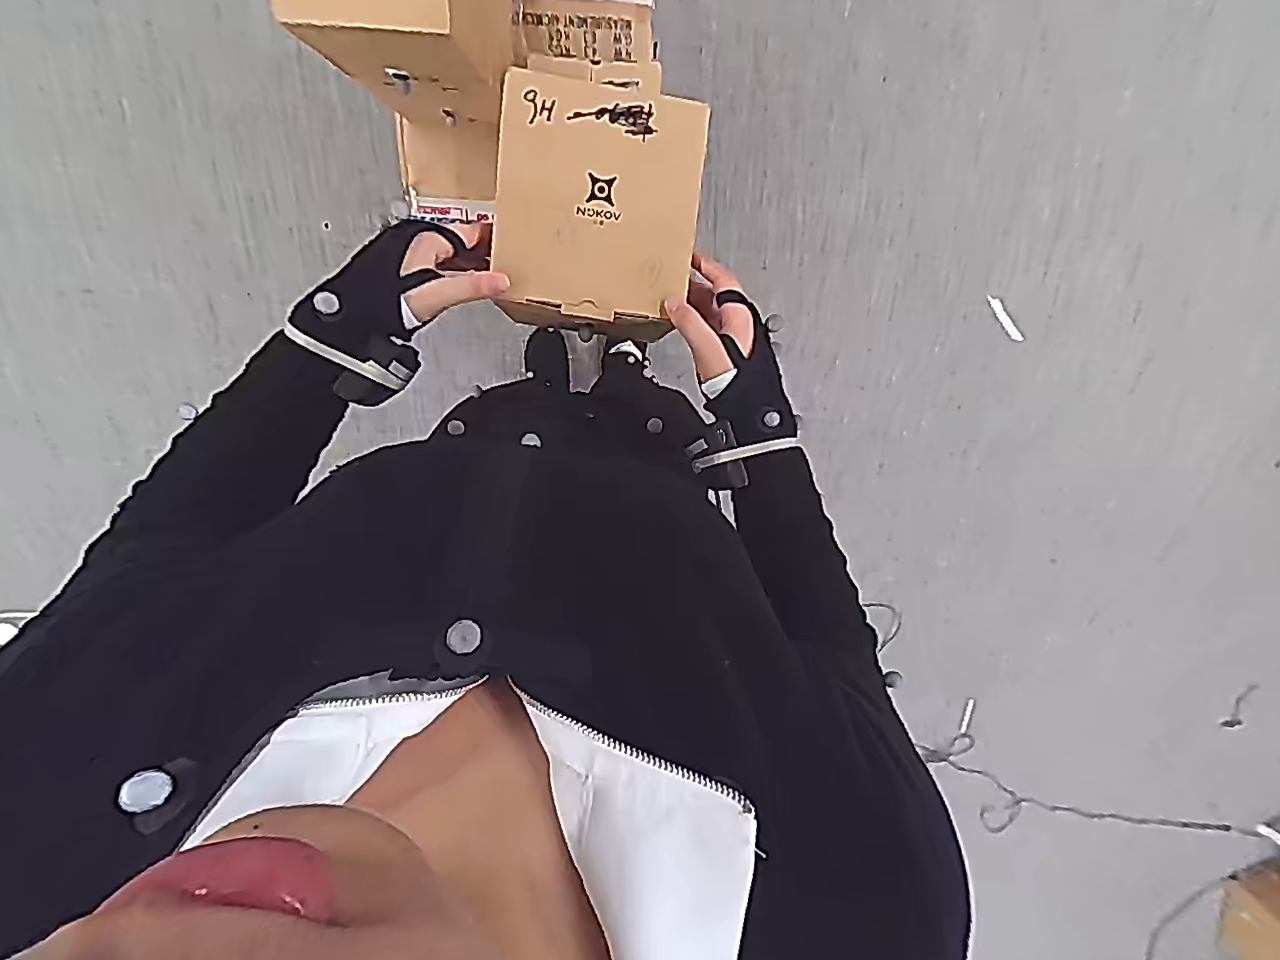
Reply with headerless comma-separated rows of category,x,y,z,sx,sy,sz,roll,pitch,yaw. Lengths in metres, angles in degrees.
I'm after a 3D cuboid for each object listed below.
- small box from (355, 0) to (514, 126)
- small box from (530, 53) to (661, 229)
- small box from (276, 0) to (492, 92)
small box,-0.263,-0.593,0.710,0.168,0.176,0.179,2,111,-3
small box,-0.066,-0.465,0.769,0.168,0.176,0.179,1,111,-5
small box,-0.255,-0.536,0.558,0.168,0.176,0.179,2,111,-2
